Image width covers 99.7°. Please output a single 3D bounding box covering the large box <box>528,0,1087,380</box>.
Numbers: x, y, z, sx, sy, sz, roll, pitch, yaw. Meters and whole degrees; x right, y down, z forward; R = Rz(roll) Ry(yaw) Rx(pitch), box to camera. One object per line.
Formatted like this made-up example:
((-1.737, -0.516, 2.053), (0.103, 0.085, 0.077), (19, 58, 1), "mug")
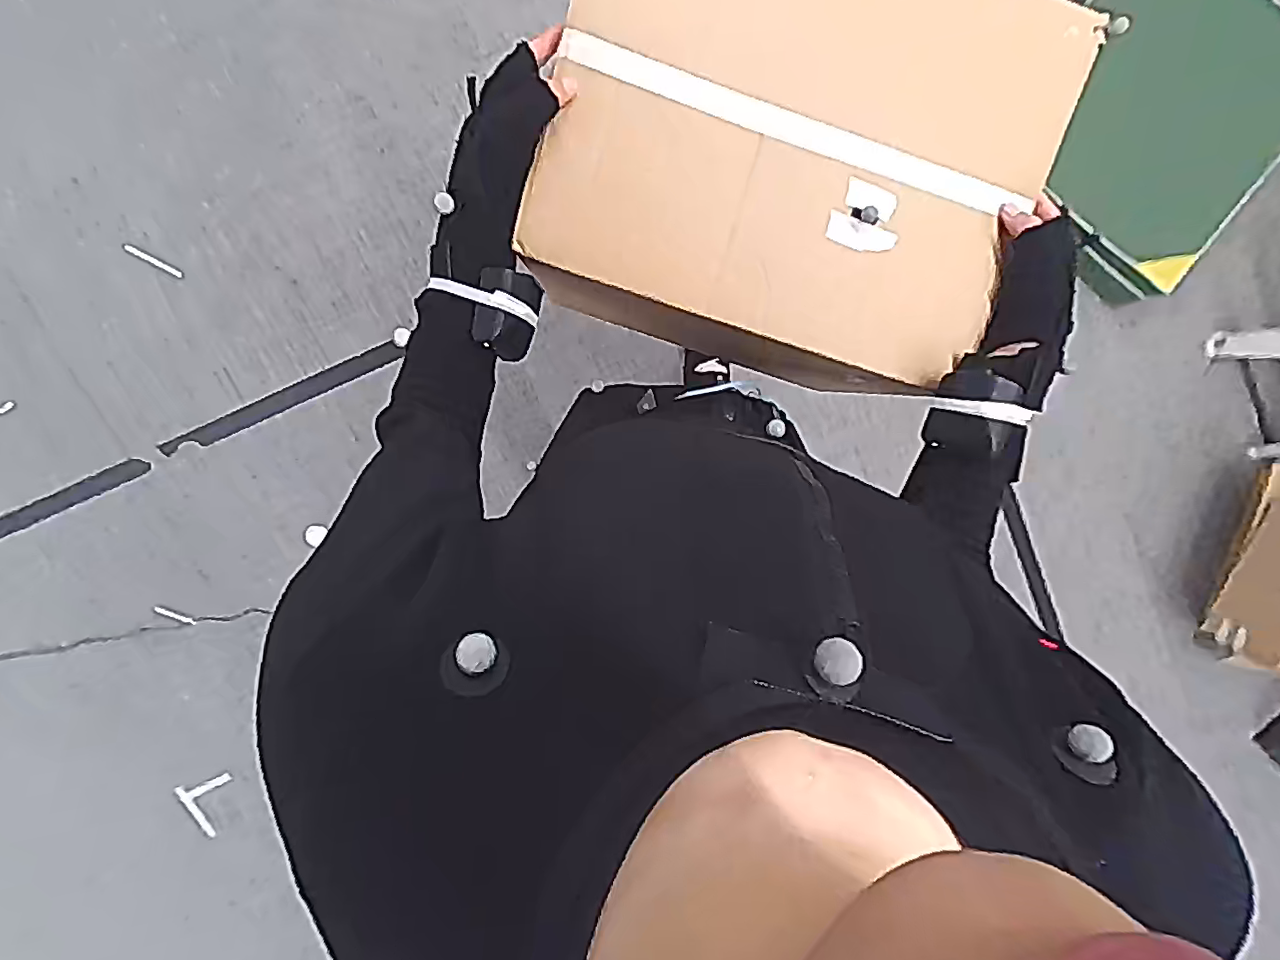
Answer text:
((0.125, -0.314, 0.590), (0.408, 0.320, 0.320), (17, 100, -7), "large box")
